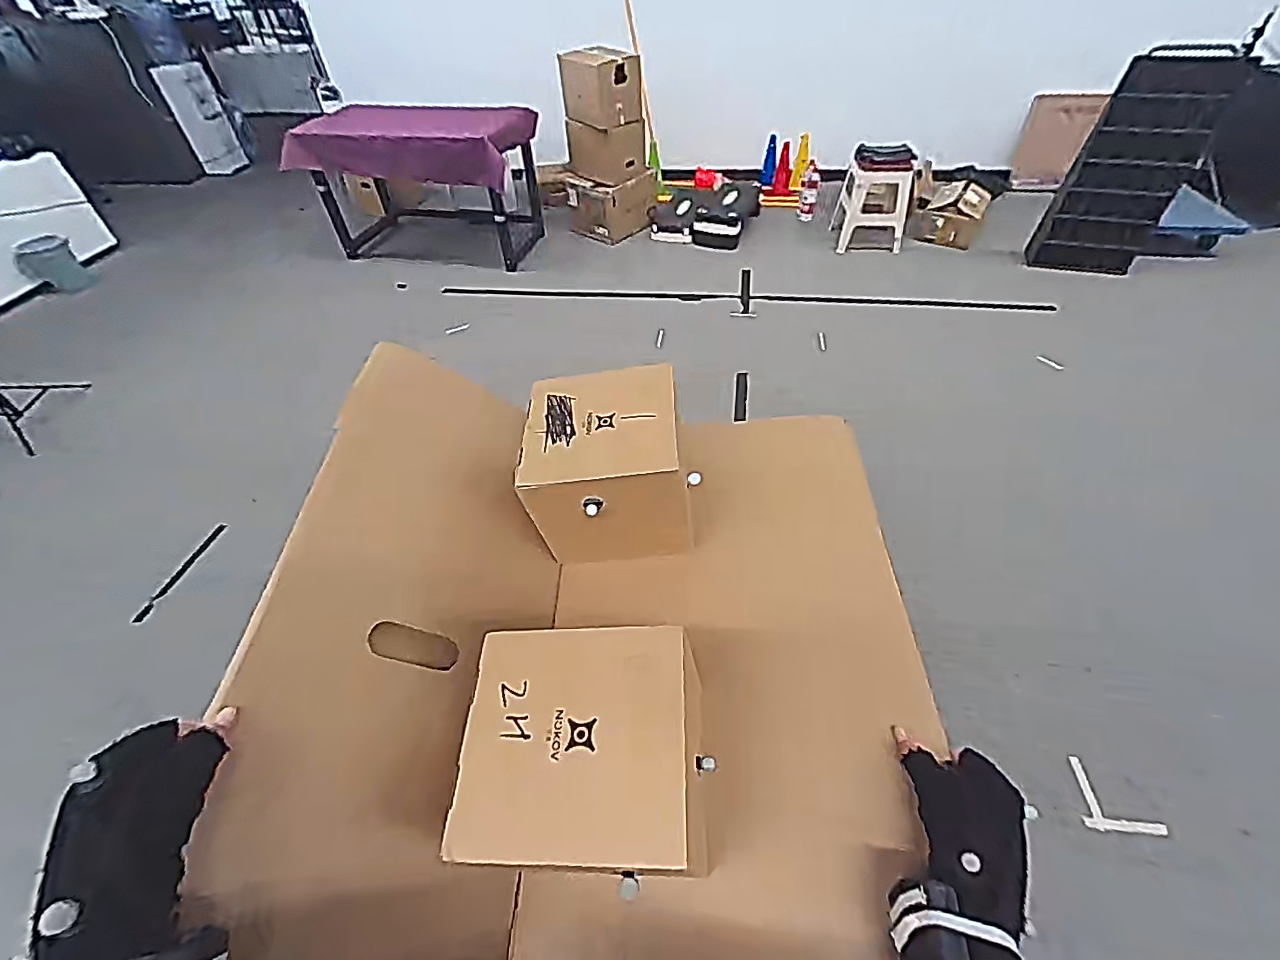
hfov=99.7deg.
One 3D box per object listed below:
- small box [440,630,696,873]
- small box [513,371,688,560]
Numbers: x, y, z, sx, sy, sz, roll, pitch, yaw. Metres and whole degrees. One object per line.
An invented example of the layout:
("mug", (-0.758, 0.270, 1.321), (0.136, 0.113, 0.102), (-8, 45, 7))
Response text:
("small box", (-0.041, 0.243, 0.482), (0.179, 0.176, 0.168), (-4, 52, 9))
("small box", (-0.037, -0.010, 0.678), (0.179, 0.176, 0.168), (-6, 52, 7))
